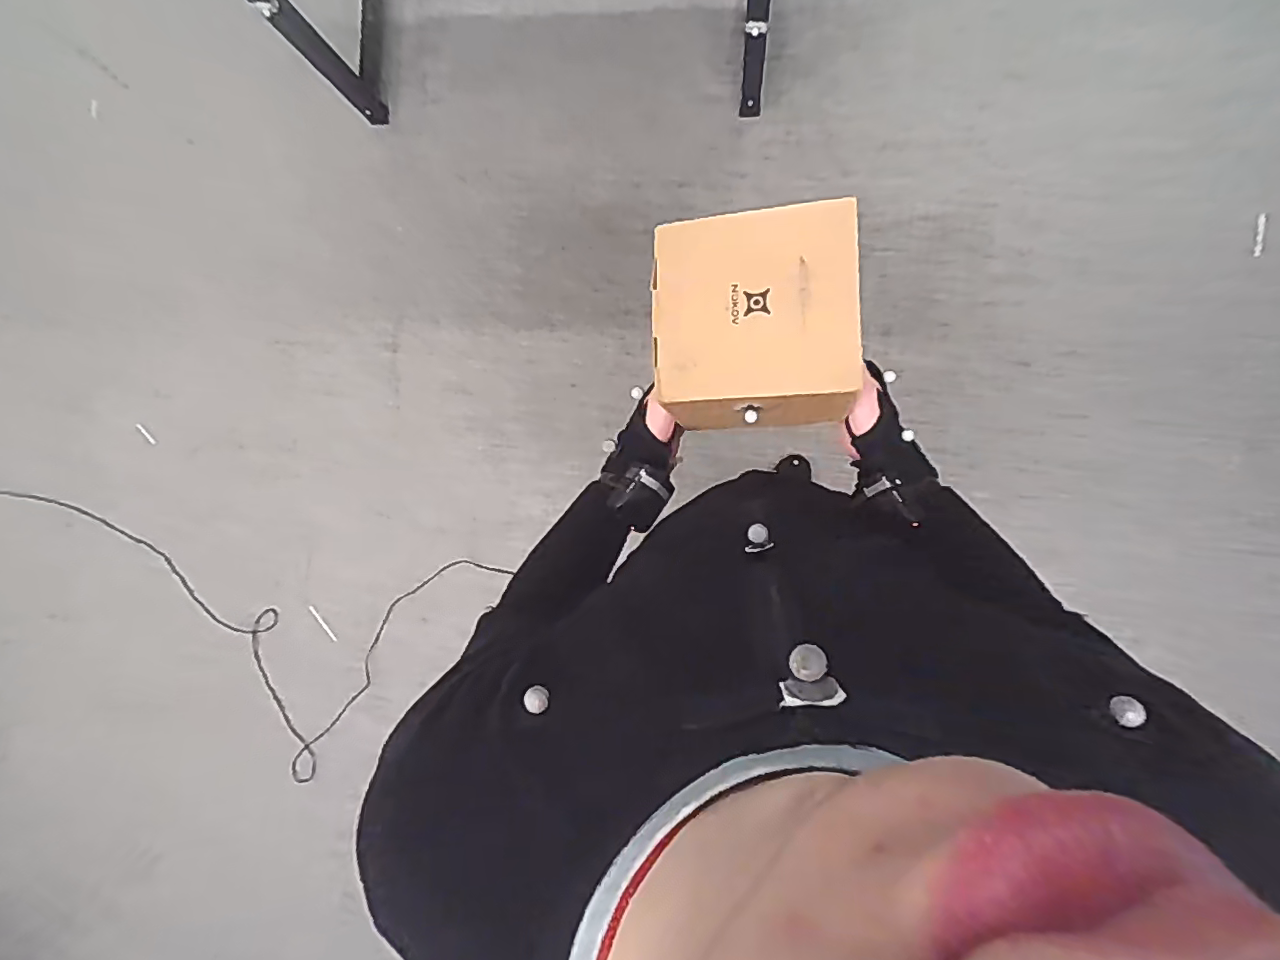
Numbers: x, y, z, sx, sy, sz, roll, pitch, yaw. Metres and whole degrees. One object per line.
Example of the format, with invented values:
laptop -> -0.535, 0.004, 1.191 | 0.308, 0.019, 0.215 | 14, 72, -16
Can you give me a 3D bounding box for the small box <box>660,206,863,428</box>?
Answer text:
small box -> 0.123, -0.148, 0.557 | 0.179, 0.176, 0.168 | -1, 86, 13
